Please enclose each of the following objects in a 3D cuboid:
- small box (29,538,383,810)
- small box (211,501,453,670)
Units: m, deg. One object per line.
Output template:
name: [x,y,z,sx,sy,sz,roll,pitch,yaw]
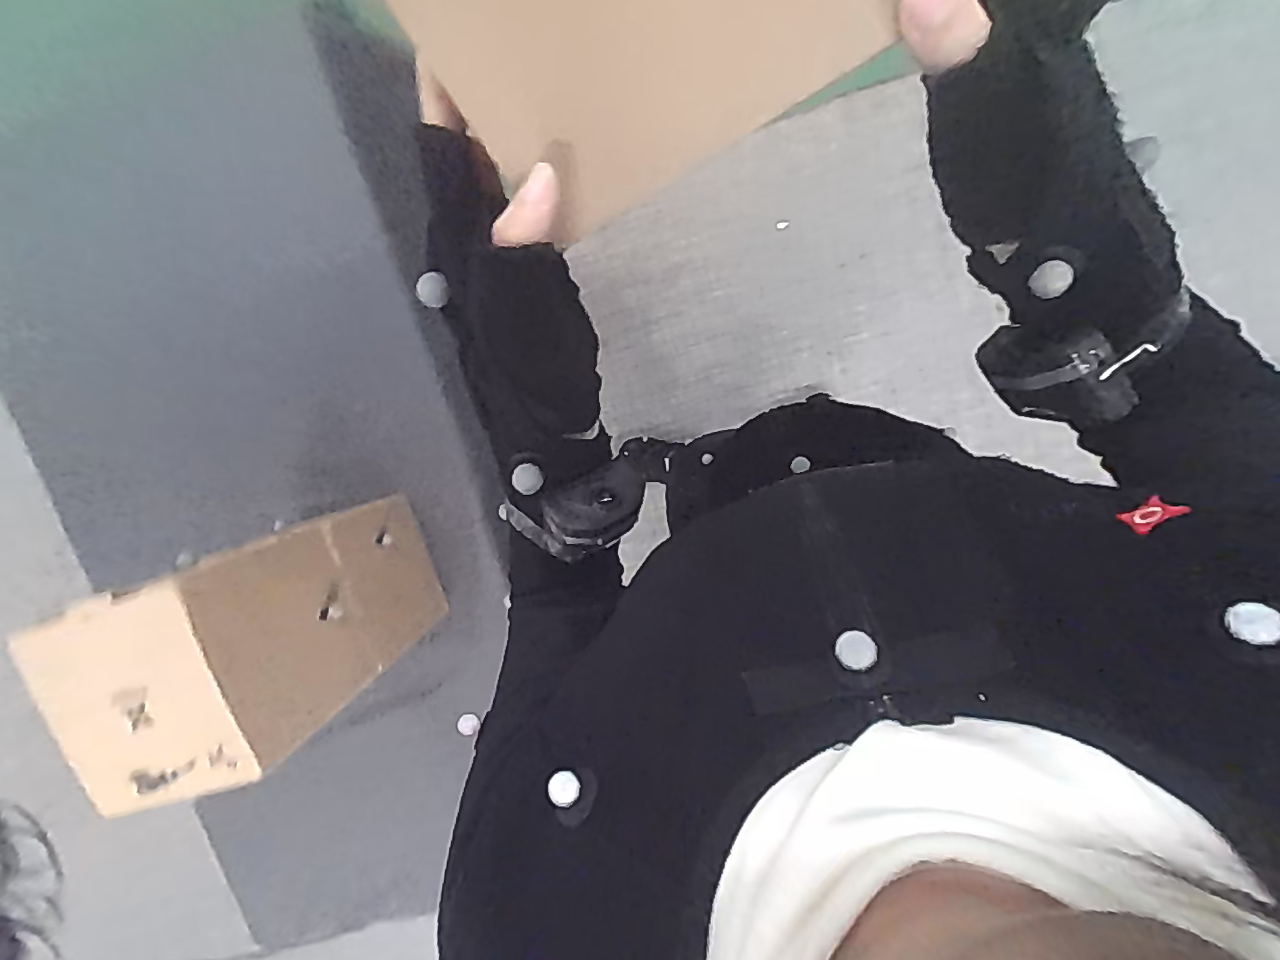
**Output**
small box: [-0.389,0.165,0.518,0.168,0.176,0.179,-18,97,10]
small box: [-0.367,0.134,0.677,0.168,0.176,0.179,-17,99,10]
